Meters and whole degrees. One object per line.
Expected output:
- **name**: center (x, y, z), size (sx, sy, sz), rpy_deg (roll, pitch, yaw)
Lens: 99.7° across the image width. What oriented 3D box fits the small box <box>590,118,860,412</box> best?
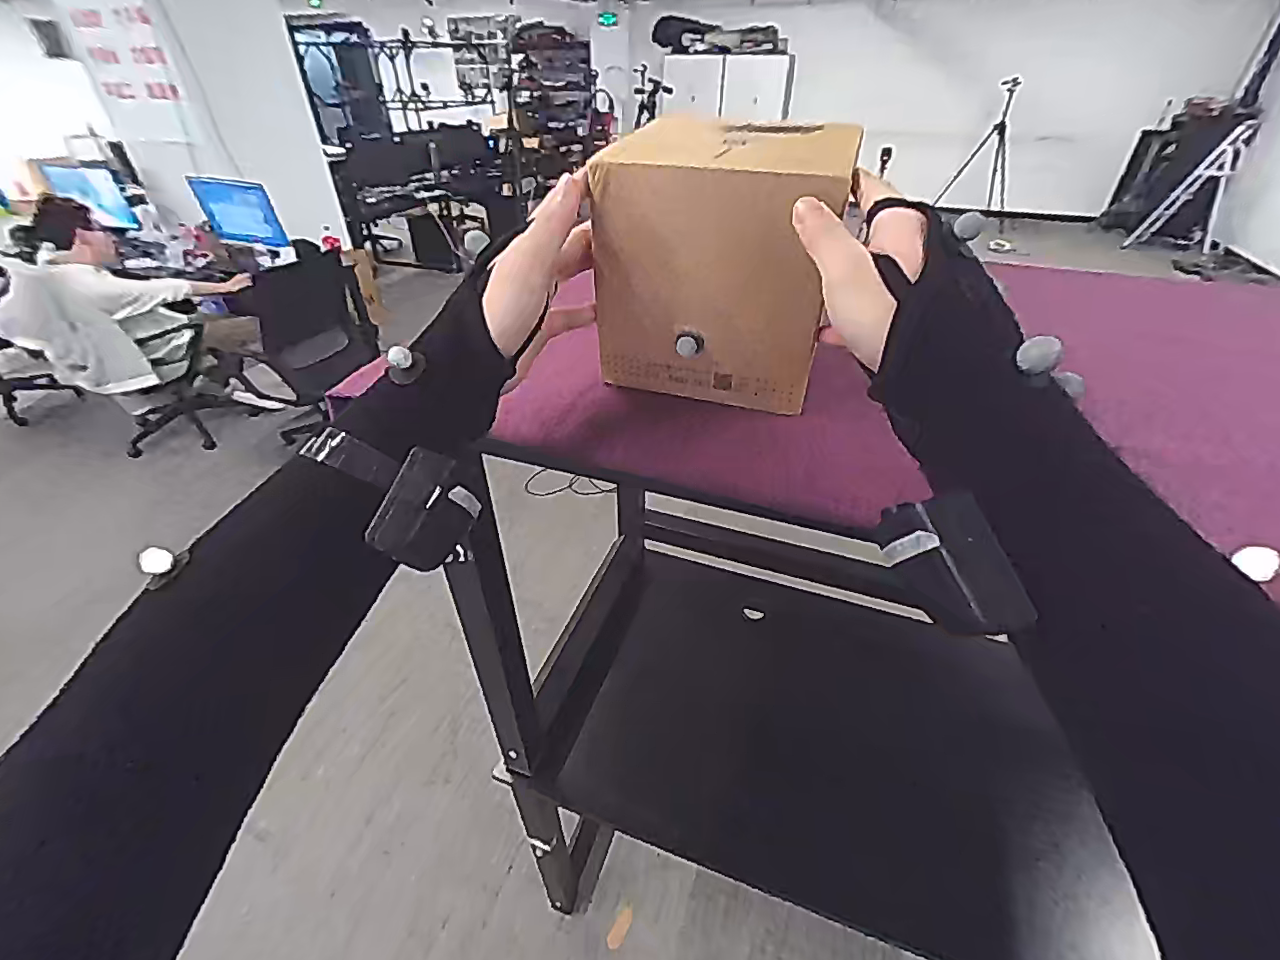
- **small box**: center (0.069, -0.180, 0.440), size (0.168, 0.176, 0.179), rpy_deg (12, 42, 15)
